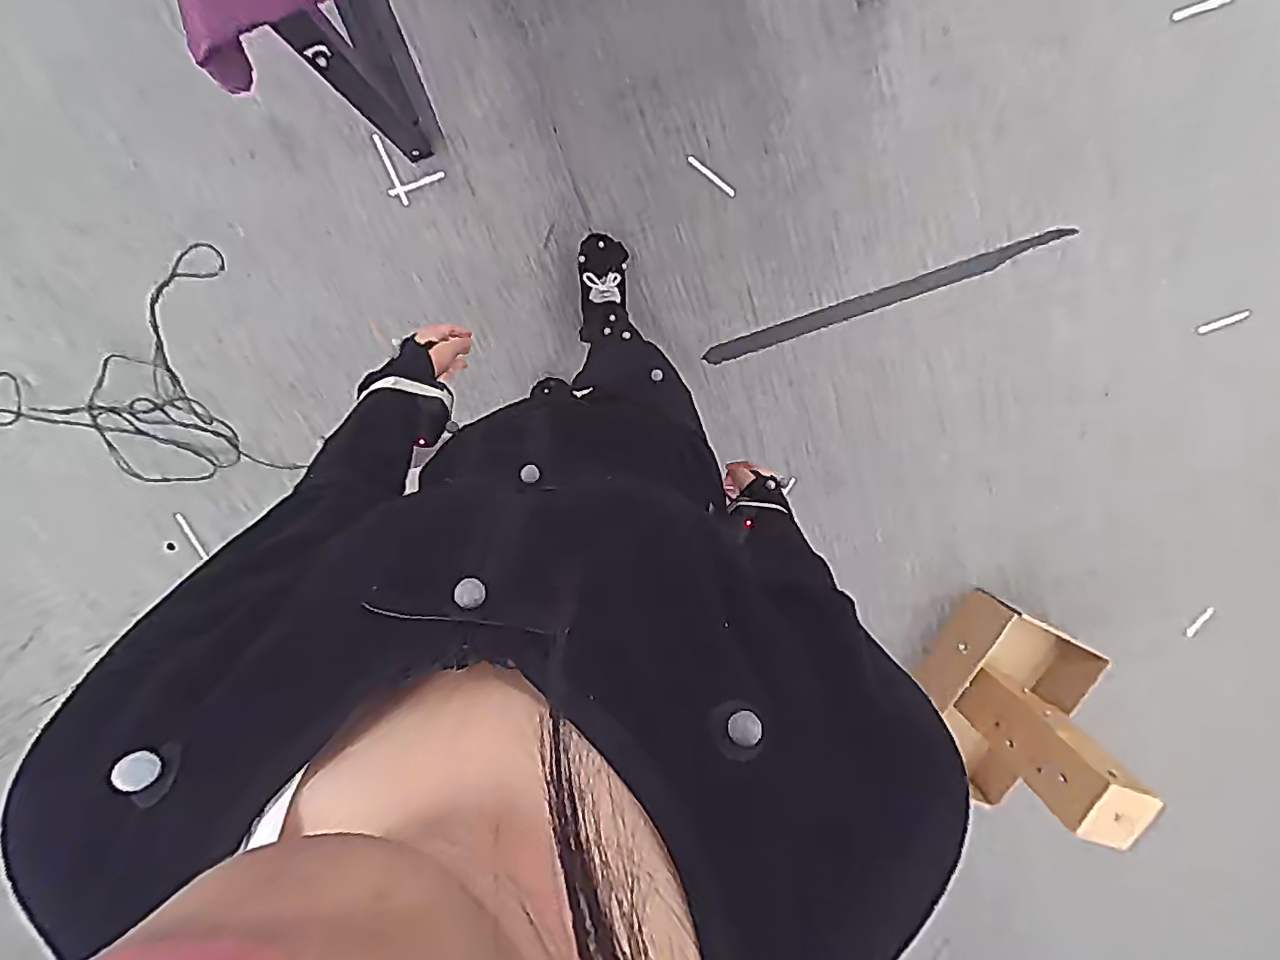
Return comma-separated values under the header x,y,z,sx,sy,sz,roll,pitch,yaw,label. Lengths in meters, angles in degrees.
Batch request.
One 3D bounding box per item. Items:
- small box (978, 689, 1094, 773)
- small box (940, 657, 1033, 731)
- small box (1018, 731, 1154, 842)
x,y,z,sx,sy,sz,roll,pitch,yaw,label
1.128,0.734,1.558,0.179,0.176,0.168,21,104,-13,small box
1.107,0.693,1.713,0.179,0.176,0.168,25,102,-12,small box
1.142,0.786,1.401,0.179,0.176,0.168,21,105,-11,small box
